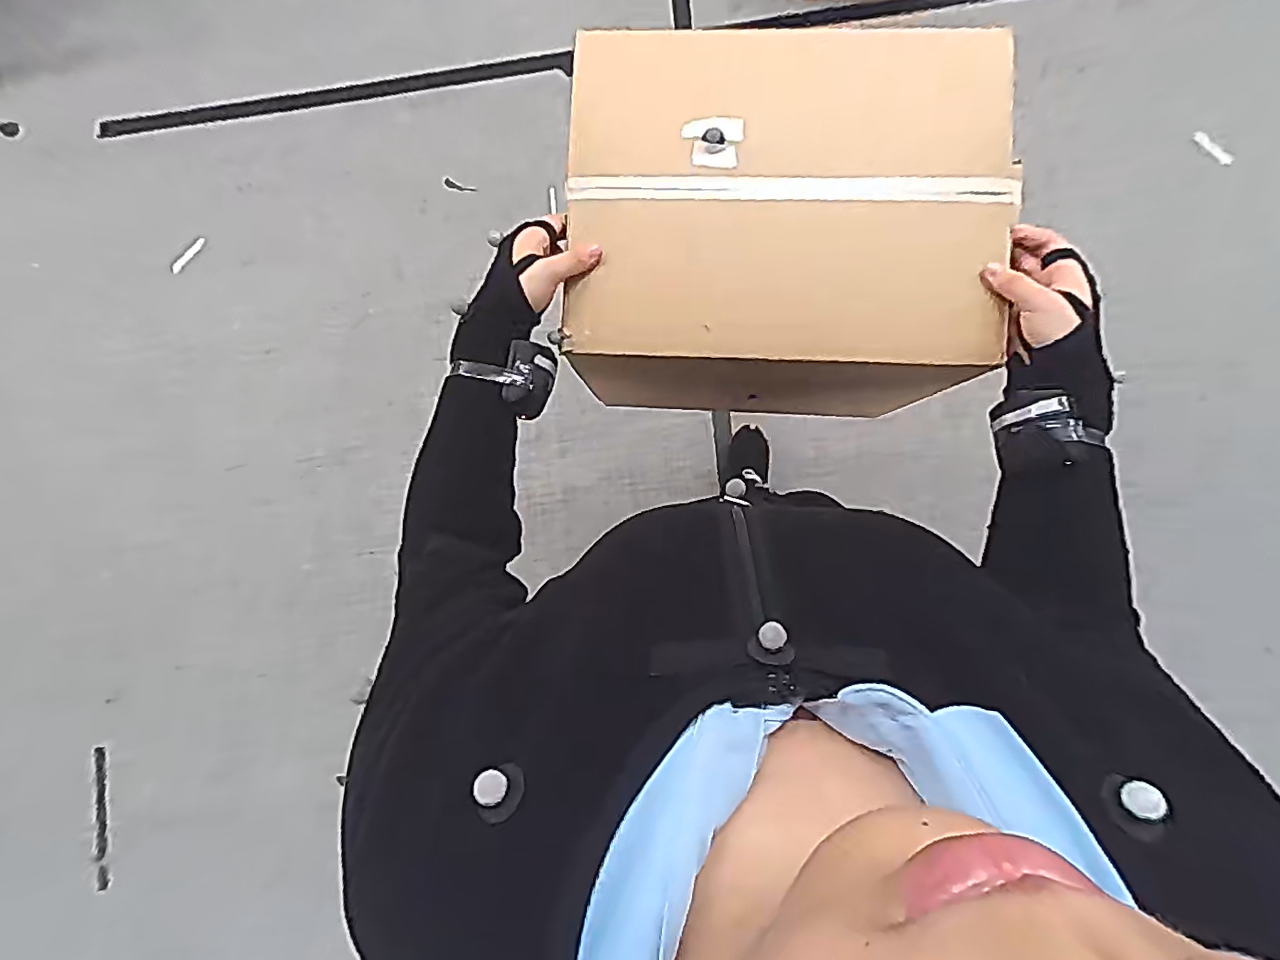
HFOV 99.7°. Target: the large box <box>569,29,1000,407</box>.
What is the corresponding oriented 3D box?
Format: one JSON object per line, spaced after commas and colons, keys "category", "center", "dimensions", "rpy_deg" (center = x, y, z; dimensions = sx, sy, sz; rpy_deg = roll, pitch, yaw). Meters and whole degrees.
{"category": "large box", "center": [0.147, -0.265, 0.662], "dimensions": [0.408, 0.320, 0.320], "rpy_deg": [2, 87, 5]}
